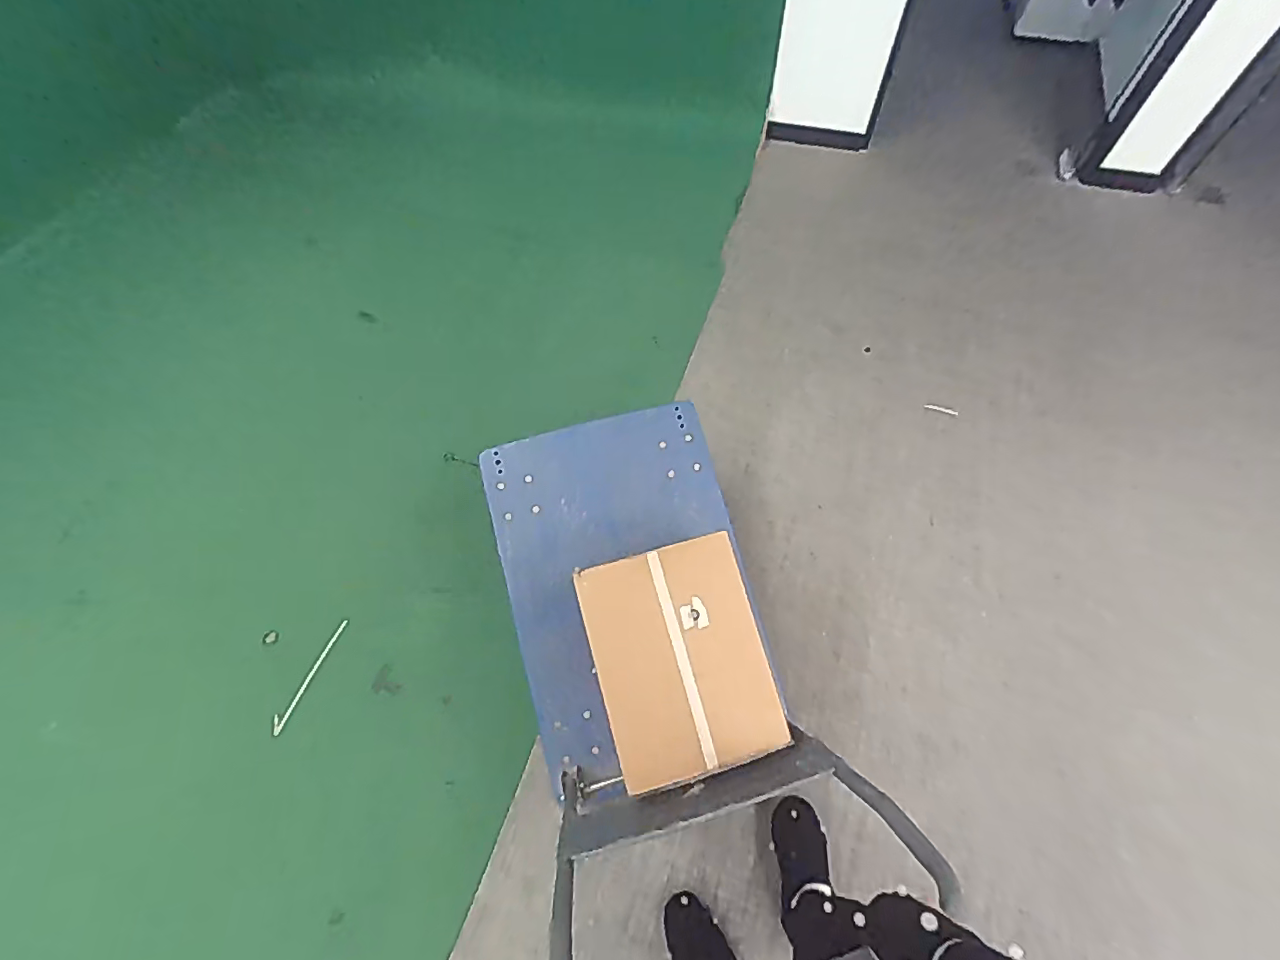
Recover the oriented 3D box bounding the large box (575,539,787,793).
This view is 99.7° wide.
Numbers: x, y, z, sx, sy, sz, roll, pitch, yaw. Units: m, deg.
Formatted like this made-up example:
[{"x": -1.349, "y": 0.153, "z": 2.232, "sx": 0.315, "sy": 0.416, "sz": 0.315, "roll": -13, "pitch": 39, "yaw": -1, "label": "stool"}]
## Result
[{"x": 0.069, "y": 0.374, "z": 1.168, "sx": 0.320, "sy": 0.320, "sz": 0.408, "roll": -15, "pitch": 78, "yaw": -7, "label": "large box"}]
